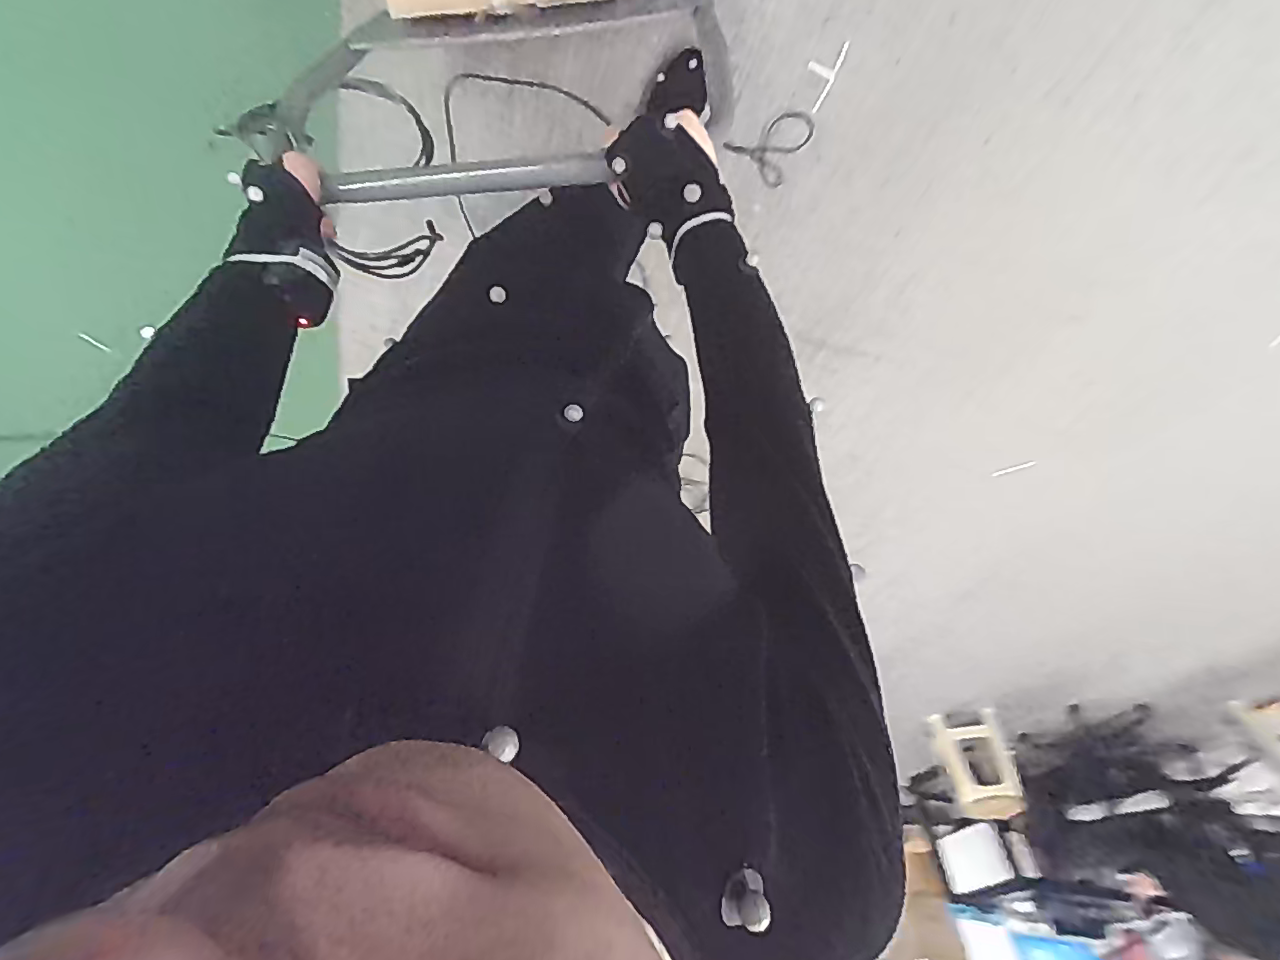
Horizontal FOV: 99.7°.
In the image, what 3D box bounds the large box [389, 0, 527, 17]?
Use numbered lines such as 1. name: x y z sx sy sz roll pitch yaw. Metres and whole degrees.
1. large box: -0.204 -0.890 0.694 0.320 0.320 0.408 -3 137 4
